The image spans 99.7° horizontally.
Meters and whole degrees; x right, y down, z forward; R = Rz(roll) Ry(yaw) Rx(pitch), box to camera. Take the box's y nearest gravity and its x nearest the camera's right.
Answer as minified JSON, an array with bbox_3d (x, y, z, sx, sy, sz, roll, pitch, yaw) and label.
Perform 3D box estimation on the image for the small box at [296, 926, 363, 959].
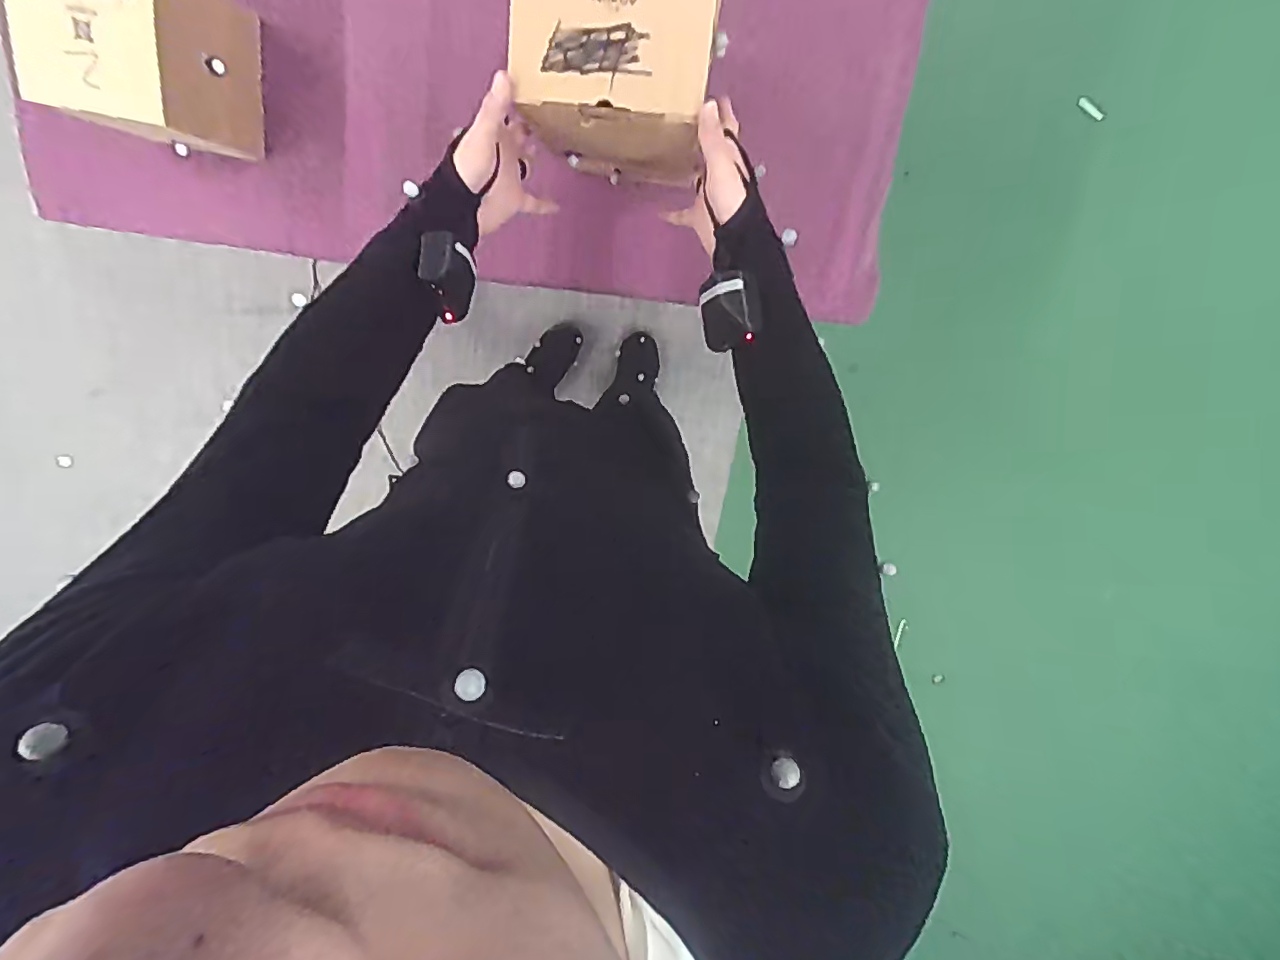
[{"bbox_3d":[-0.971,1.519,1.653,0.168,0.176,0.179,13,108,-2],"label":"small box"}]

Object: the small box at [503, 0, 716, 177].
[{"bbox_3d":[-0.019,-0.406,0.508,0.168,0.176,0.179,8,105,1],"label":"small box"}]

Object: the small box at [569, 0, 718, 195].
[{"bbox_3d":[-0.007,-0.472,0.659,0.168,0.176,0.179,10,107,1],"label":"small box"}]
